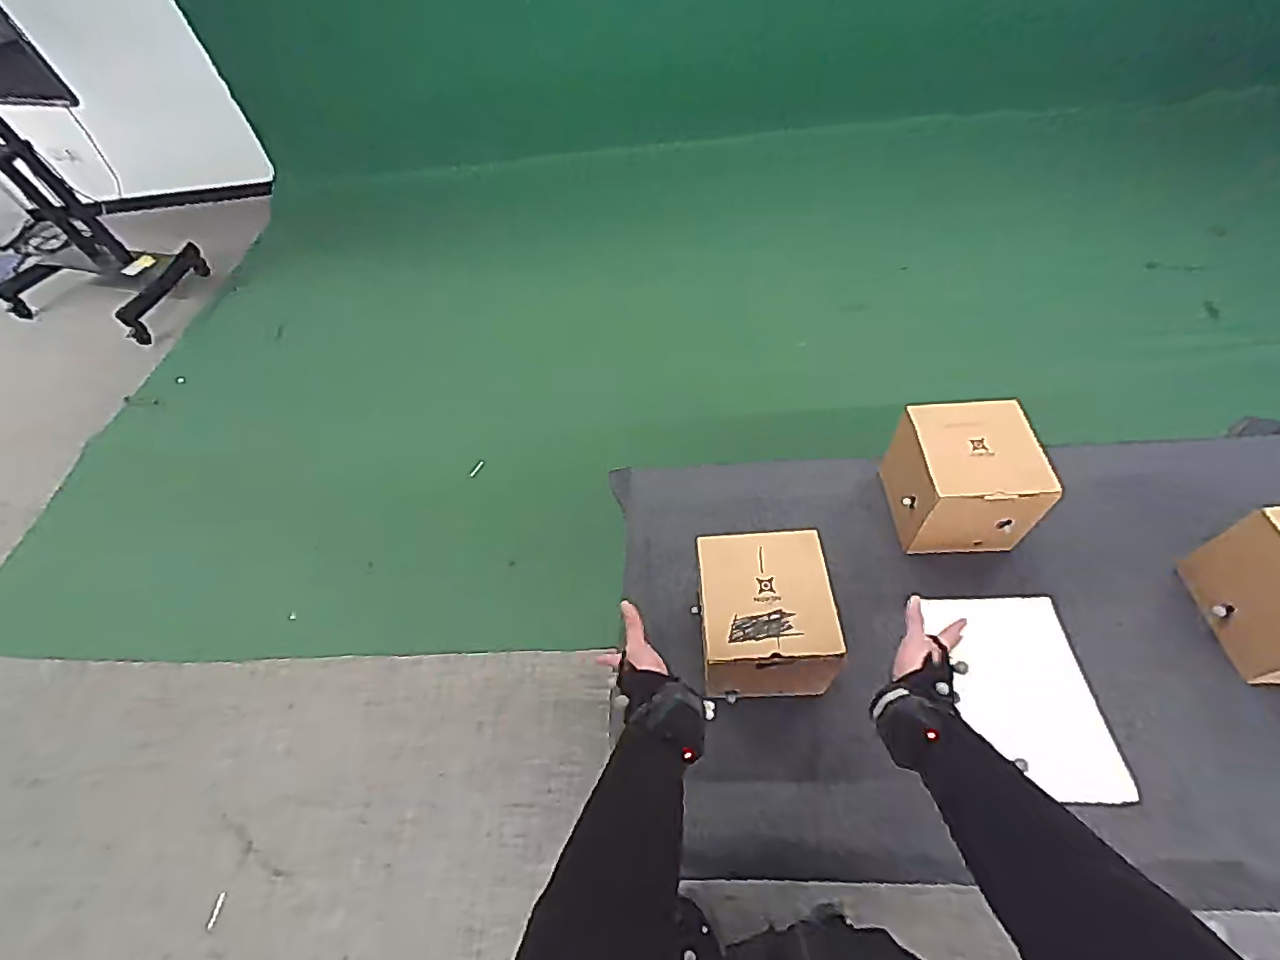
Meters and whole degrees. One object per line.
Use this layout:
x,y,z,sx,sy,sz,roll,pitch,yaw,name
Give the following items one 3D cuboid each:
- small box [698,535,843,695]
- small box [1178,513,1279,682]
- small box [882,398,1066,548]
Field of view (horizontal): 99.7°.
0.171,0.197,0.759,0.168,0.176,0.179,-4,54,4,small box
0.875,0.156,0.696,0.168,0.176,0.179,-2,55,6,small box
0.500,-0.003,0.842,0.168,0.176,0.179,-3,54,4,small box
